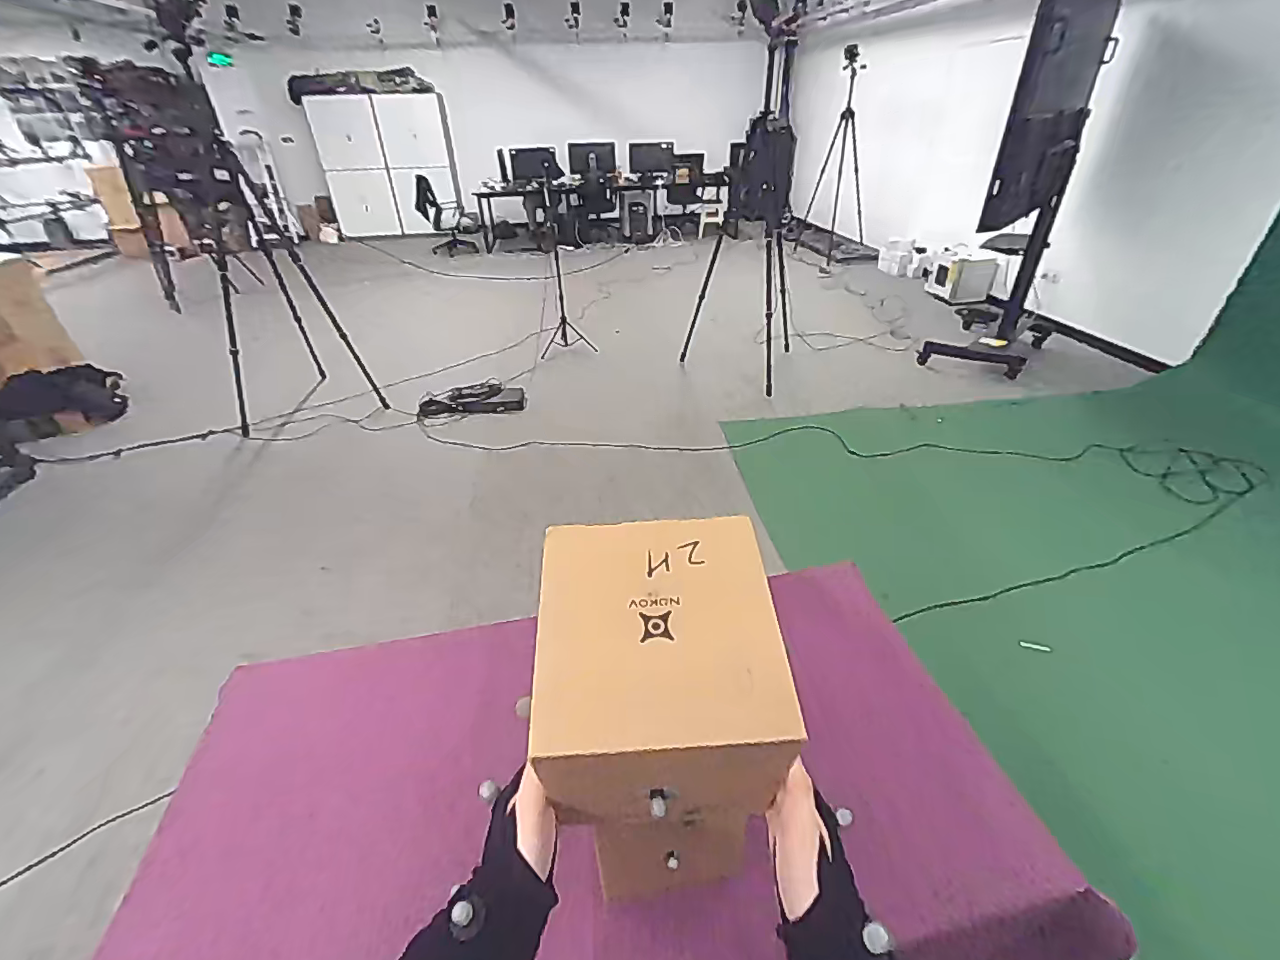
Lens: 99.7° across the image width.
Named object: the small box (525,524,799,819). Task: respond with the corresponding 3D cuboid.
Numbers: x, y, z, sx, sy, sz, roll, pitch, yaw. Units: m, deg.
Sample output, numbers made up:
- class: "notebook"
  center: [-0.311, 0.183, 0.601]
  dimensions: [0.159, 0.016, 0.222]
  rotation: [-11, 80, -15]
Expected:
- class: "small box"
  center: [0.012, 0.155, 0.430]
  dimensions: [0.168, 0.176, 0.179]
  rotation: [-1, 46, -1]
